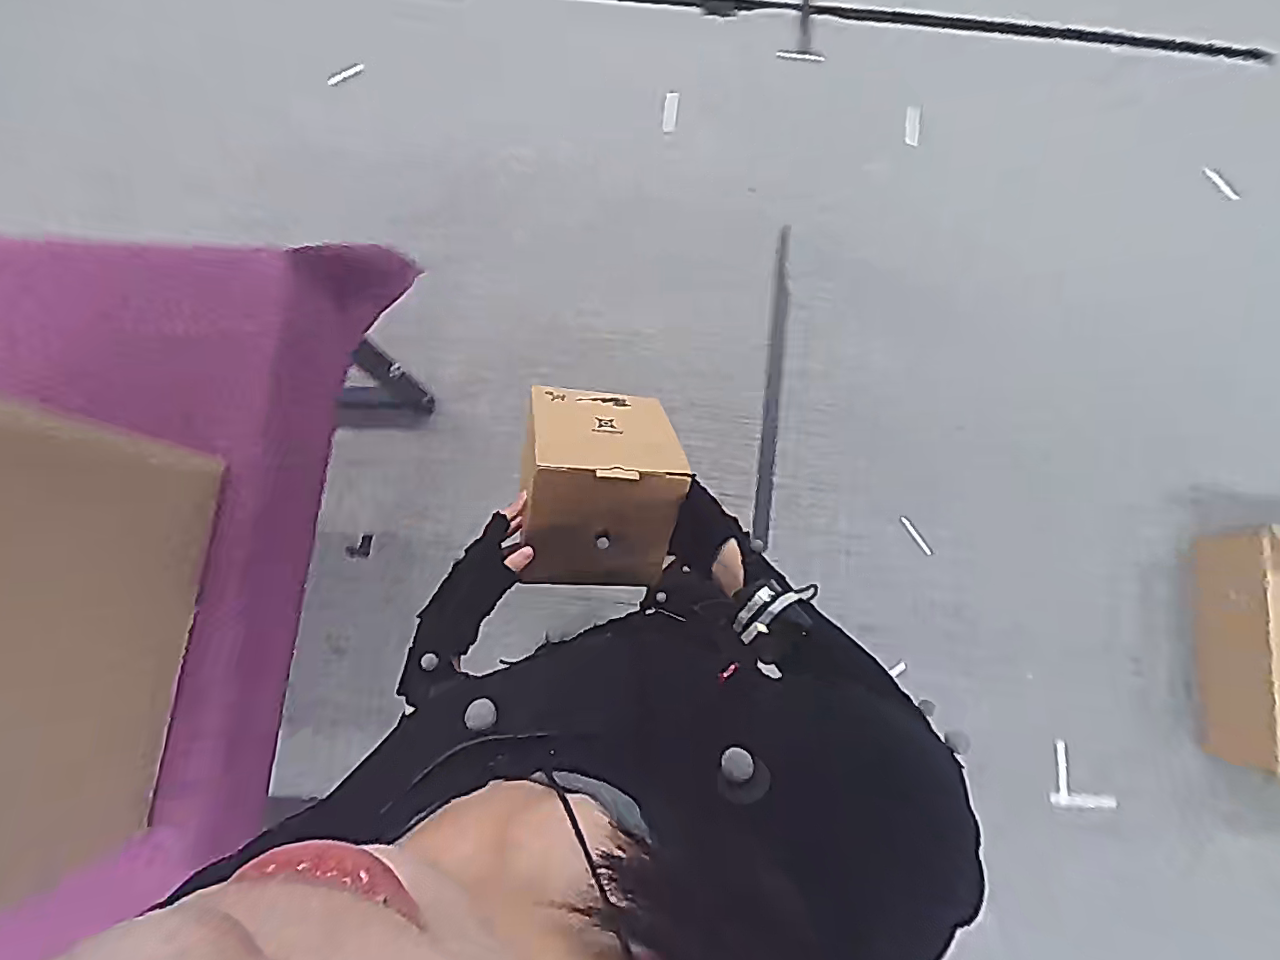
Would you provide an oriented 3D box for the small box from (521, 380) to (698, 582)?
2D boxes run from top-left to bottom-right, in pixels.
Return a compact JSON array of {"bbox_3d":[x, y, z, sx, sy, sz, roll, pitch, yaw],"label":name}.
[{"bbox_3d":[-0.048,0.003,0.642,0.168,0.176,0.179,5,35,-16],"label":"small box"}]
